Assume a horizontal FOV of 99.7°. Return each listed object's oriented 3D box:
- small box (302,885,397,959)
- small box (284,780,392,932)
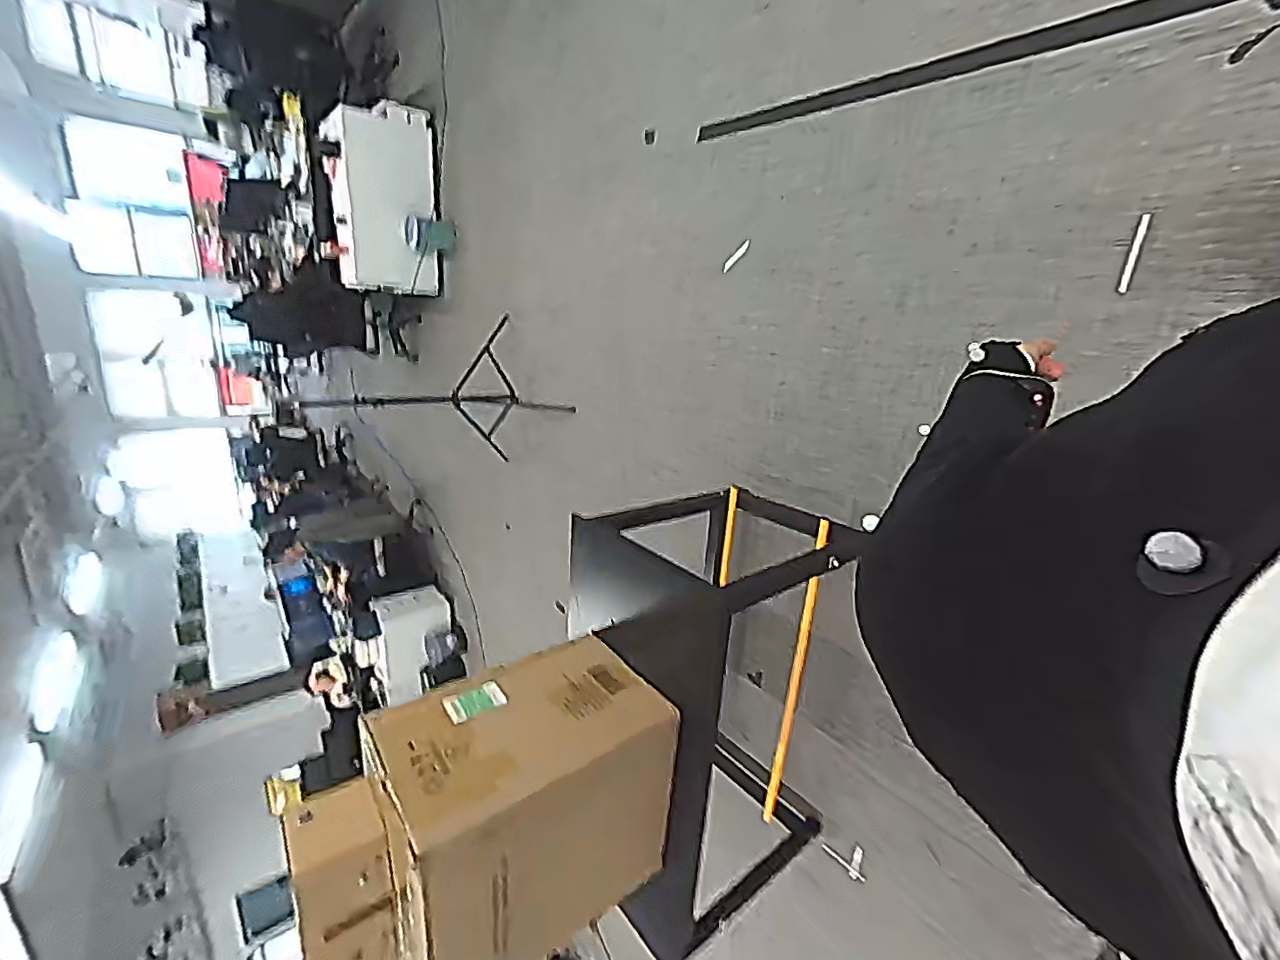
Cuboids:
[{"bbox_3d":[-0.653,0.985,1.210,0.179,0.176,0.168,19,111,49],"label":"small box"},{"bbox_3d":[-0.632,0.771,1.136,0.179,0.176,0.168,22,115,49],"label":"small box"}]
